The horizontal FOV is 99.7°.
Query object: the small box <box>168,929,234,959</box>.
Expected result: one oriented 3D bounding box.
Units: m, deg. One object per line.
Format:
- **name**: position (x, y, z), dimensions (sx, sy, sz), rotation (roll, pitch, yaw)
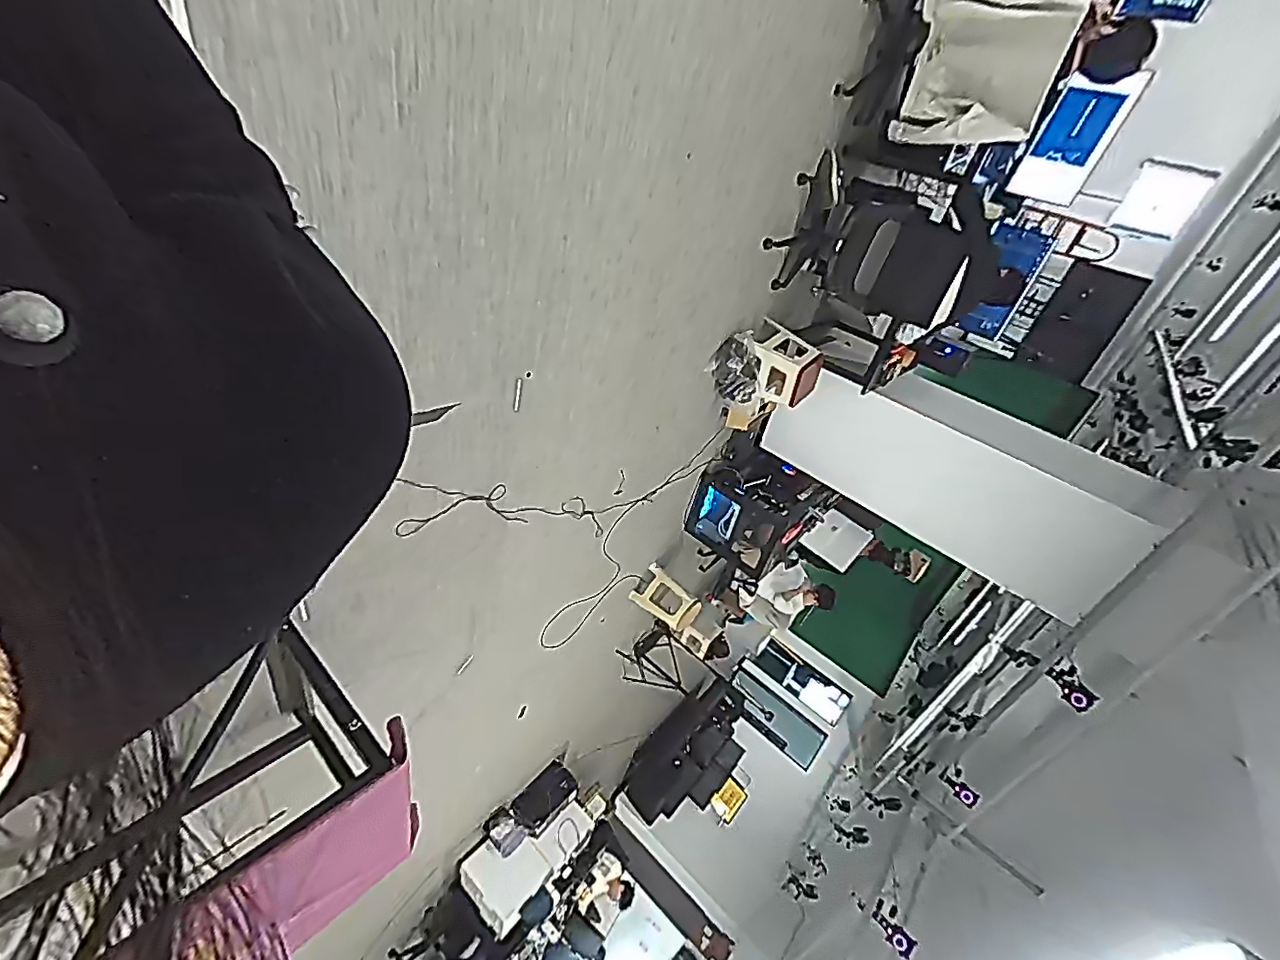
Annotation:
- **small box**: position (-0.988, 1.153, 1.194), dimensions (0.168, 0.176, 0.179), rotation (-25, 142, -47)
